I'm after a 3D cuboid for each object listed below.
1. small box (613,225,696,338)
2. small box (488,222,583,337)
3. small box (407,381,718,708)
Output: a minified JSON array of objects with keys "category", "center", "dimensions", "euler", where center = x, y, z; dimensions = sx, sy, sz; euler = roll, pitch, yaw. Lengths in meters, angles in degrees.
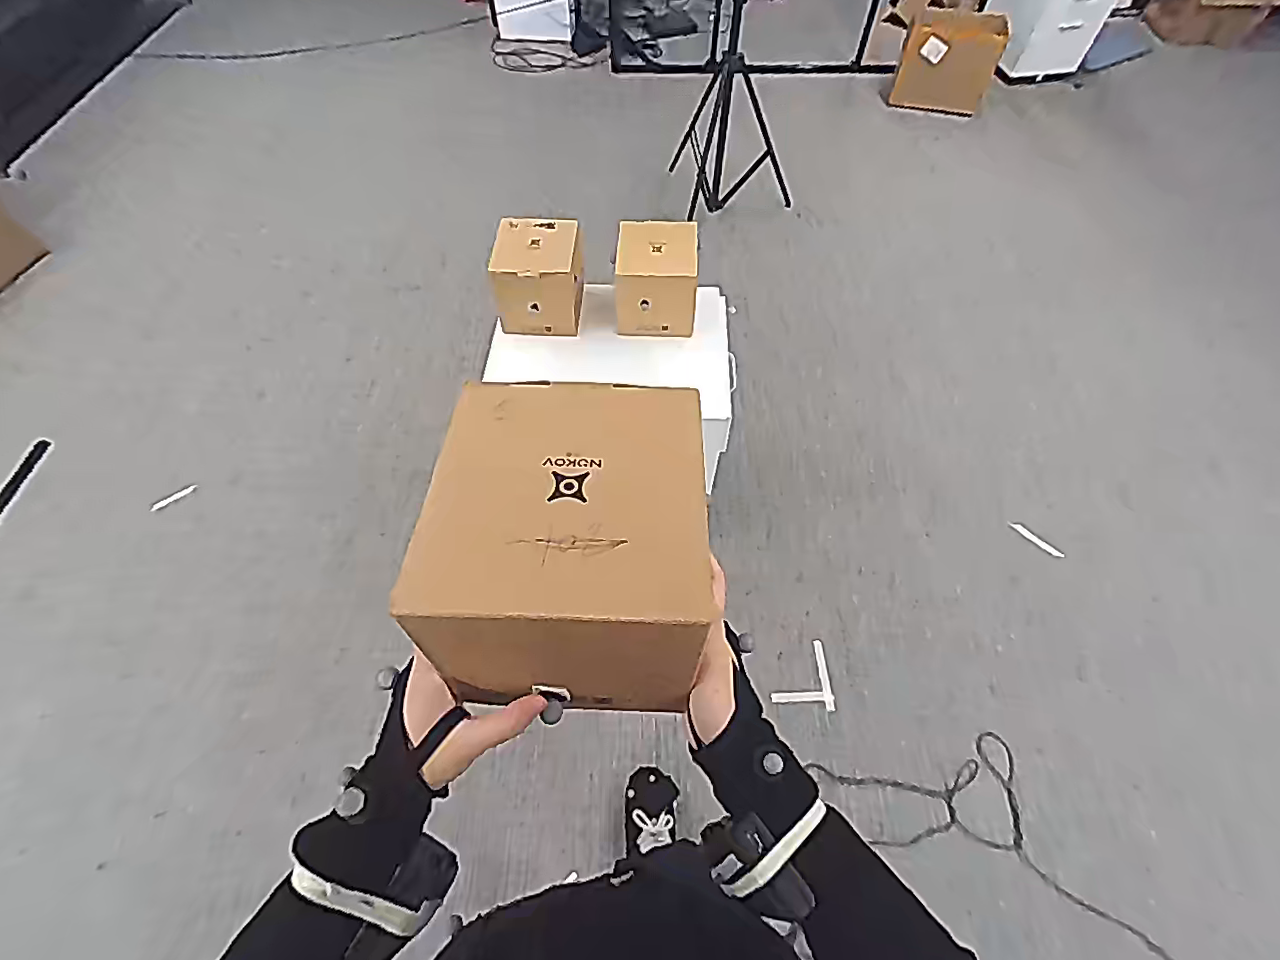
[{"category":"small box","center":[0.035,-0.426,1.173],"dimensions":[0.168,0.176,0.179],"euler":[2,59,2]},{"category":"small box","center":[-0.217,-0.431,1.175],"dimensions":[0.168,0.176,0.179],"euler":[2,60,0]},{"category":"small box","center":[-0.040,0.050,0.393],"dimensions":[0.168,0.176,0.179],"euler":[1,53,0]}]
